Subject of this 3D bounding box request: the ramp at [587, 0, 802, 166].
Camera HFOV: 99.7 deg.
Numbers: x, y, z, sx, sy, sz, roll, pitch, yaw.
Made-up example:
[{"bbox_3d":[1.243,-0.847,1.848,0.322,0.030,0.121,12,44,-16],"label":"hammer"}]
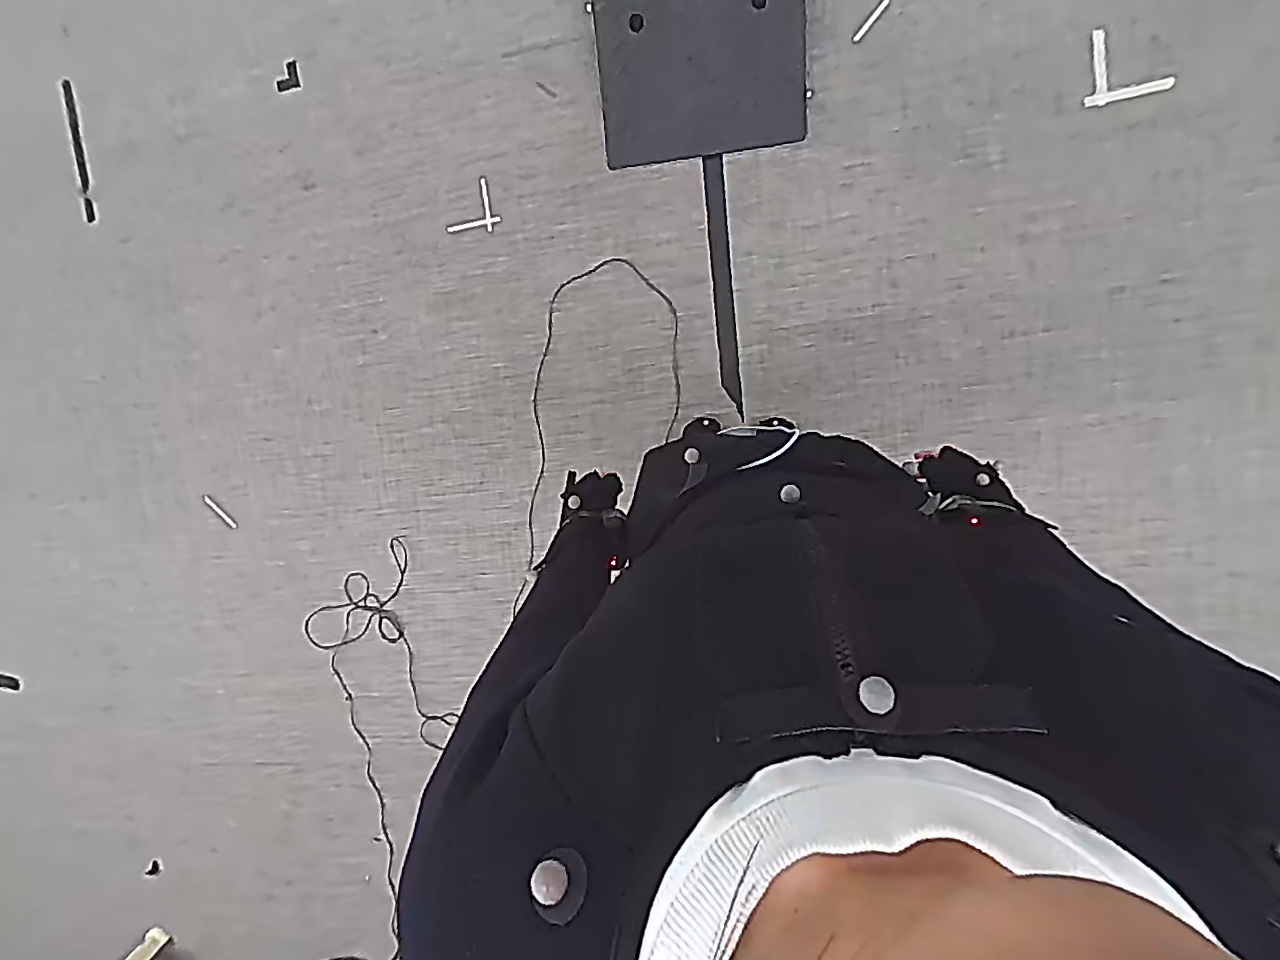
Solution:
[{"bbox_3d":[0.102,-1.288,1.200,0.509,0.206,0.991,-5,97,8],"label":"ramp"}]
